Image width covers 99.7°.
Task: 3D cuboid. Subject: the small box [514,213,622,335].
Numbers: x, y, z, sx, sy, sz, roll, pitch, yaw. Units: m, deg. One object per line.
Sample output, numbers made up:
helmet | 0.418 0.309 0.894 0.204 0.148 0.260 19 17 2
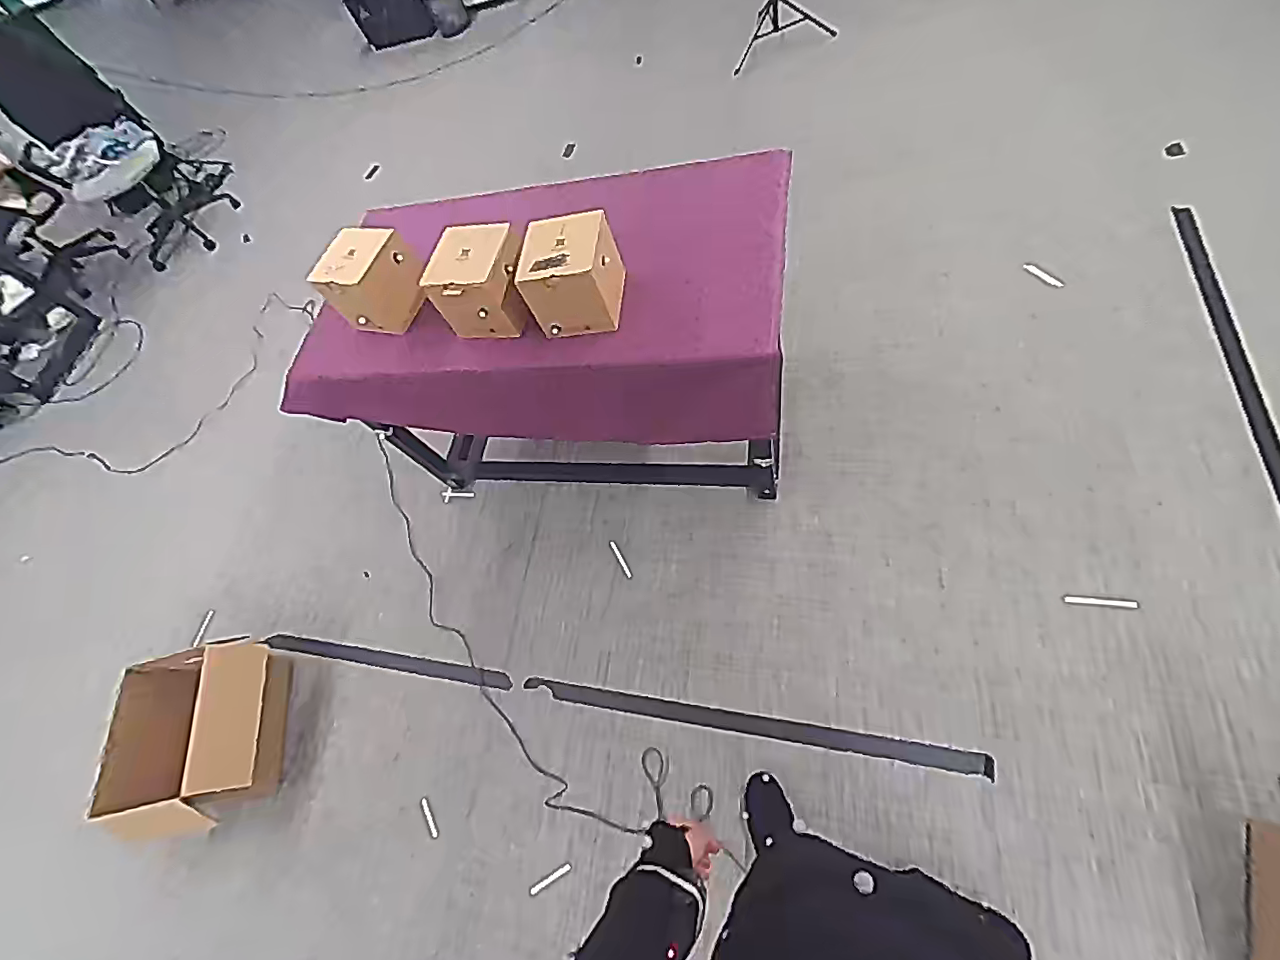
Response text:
small box | -0.144 -0.425 1.146 0.168 0.176 0.179 -2 62 15

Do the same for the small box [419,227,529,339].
small box | -0.354 -0.434 1.213 0.168 0.176 0.179 5 66 18

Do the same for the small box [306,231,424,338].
small box | -0.651 -0.475 1.317 0.168 0.176 0.179 11 68 21
